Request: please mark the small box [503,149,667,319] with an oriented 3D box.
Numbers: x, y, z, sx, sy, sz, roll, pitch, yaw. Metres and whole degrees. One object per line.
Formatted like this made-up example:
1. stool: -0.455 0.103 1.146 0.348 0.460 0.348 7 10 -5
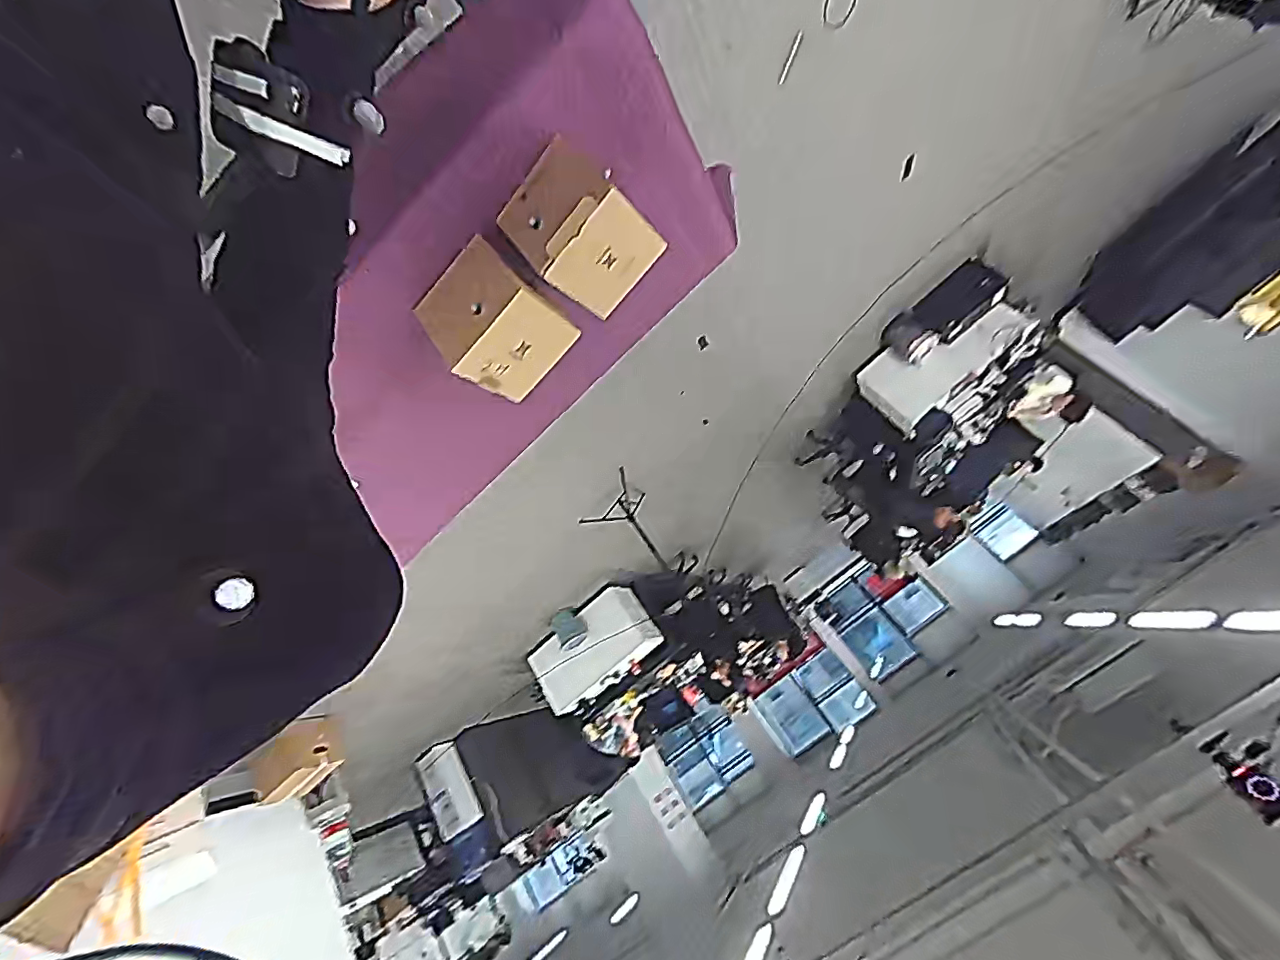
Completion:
1. small box: -0.093 -0.409 0.897 0.168 0.176 0.179 -44 153 17
